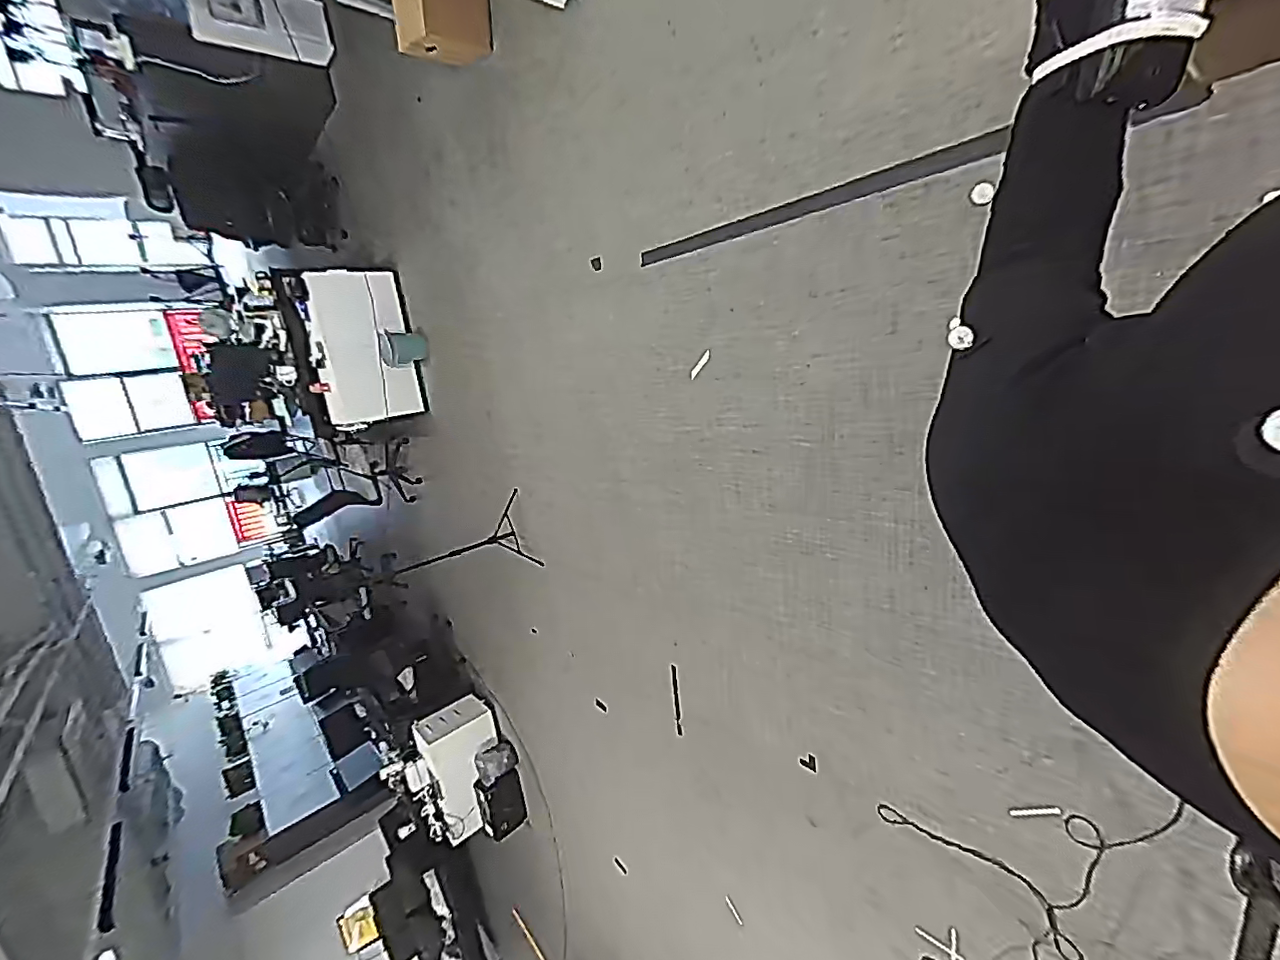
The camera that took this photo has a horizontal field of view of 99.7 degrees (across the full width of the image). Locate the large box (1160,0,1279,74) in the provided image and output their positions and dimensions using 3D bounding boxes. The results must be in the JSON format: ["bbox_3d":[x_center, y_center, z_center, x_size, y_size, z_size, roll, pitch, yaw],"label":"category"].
[{"bbox_3d":[0.568,-0.480,0.269,0.408,0.320,0.320,12,118,47],"label":"large box"}]
